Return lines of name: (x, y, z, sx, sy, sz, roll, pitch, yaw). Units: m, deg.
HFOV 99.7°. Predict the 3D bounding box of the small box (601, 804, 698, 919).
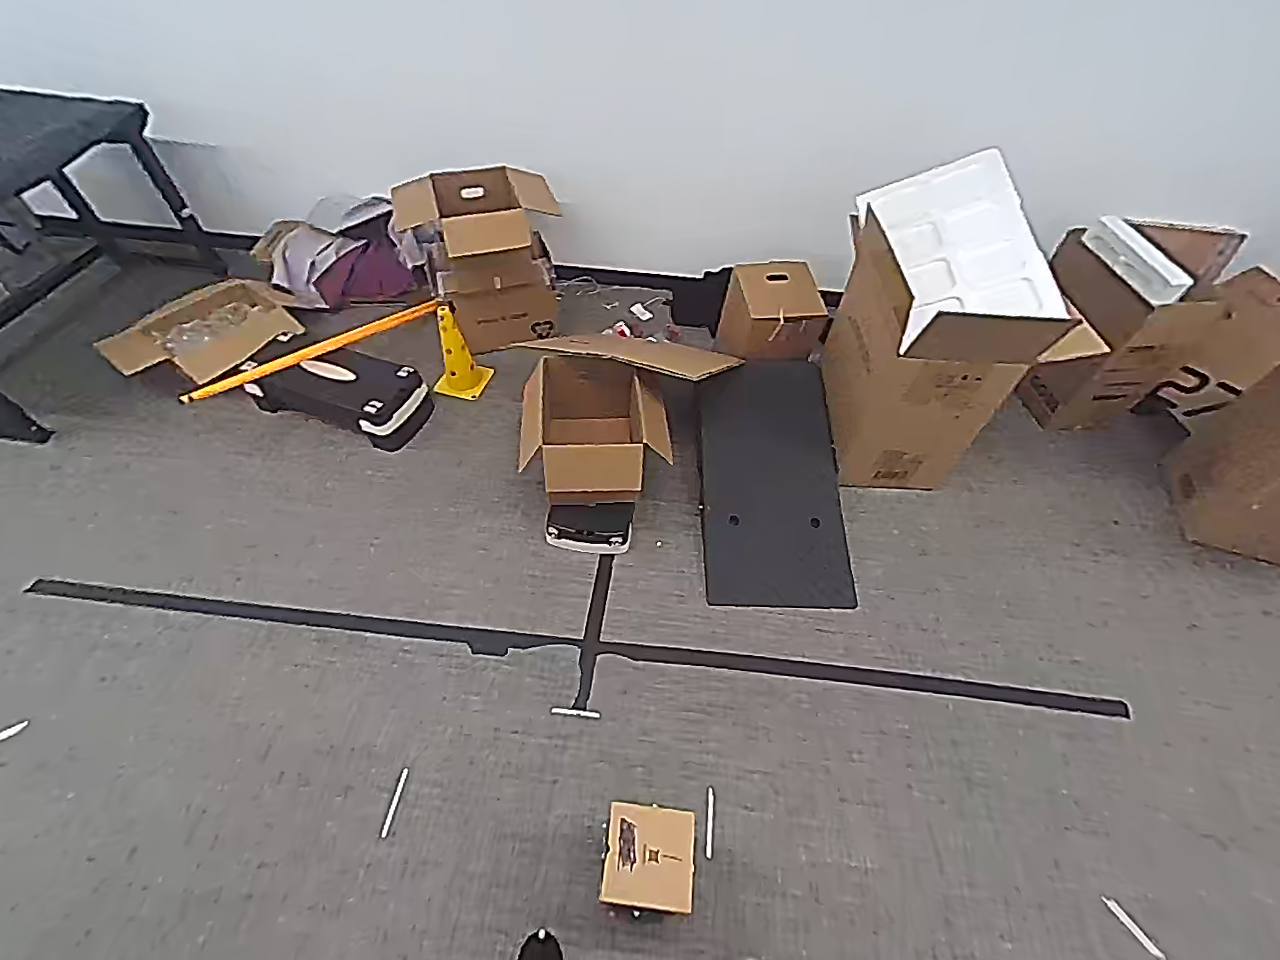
small box: (0.019, 0.783, 1.107, 0.179, 0.176, 0.168, 8, 52, 1)
